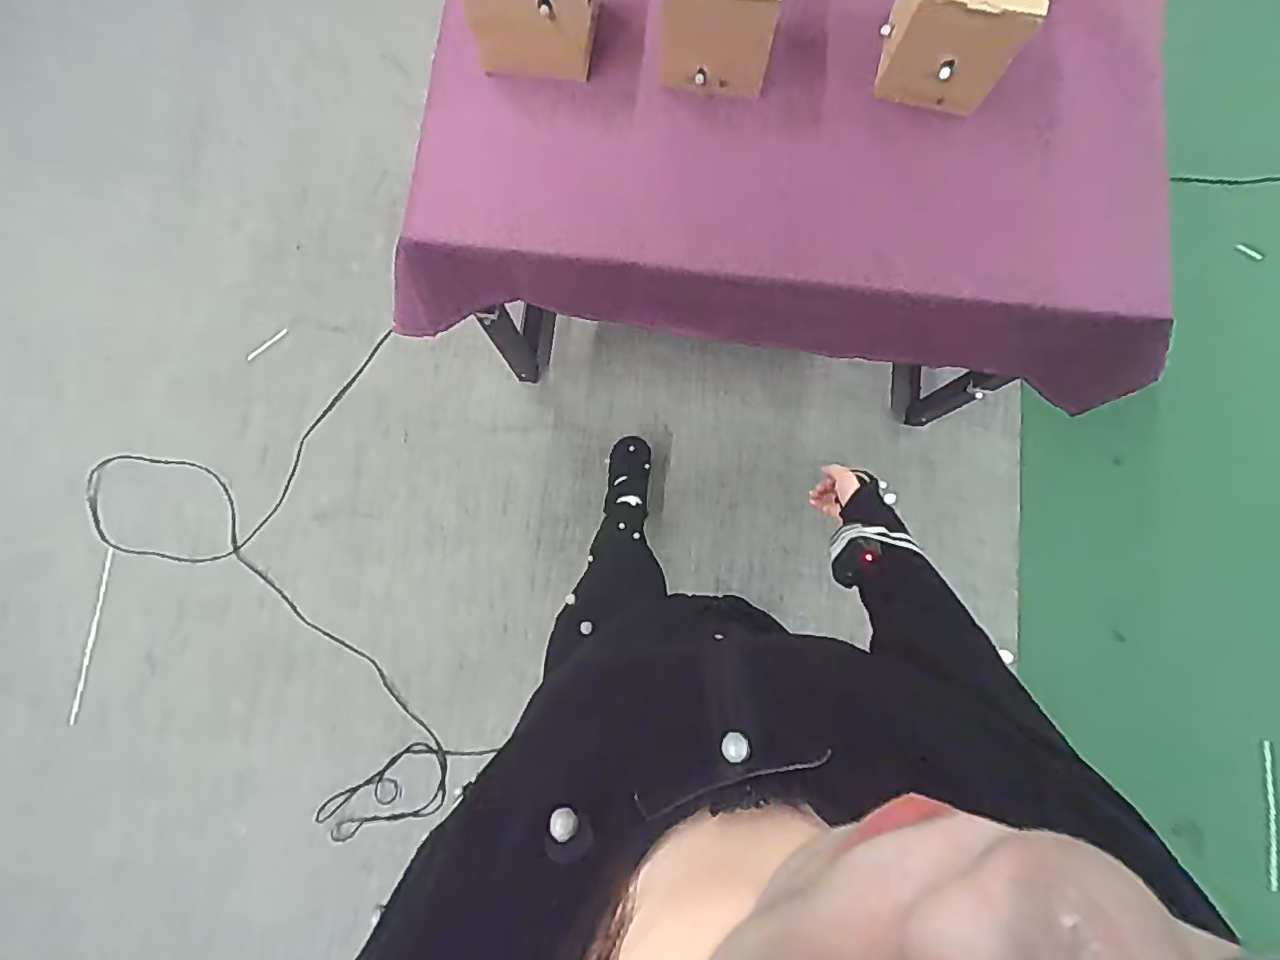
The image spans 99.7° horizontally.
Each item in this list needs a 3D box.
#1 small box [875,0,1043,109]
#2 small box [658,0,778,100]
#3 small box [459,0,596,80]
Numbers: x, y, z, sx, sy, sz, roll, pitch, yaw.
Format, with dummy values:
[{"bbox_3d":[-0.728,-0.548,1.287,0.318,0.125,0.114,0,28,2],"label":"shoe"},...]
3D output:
[{"bbox_3d":[0.475,-0.706,0.812,0.168,0.176,0.179,14,83,2],"label":"small box"},{"bbox_3d":[0.119,-0.732,0.823,0.168,0.176,0.179,8,82,3],"label":"small box"},{"bbox_3d":[-0.167,-0.758,0.828,0.179,0.176,0.168,8,81,2],"label":"small box"}]
